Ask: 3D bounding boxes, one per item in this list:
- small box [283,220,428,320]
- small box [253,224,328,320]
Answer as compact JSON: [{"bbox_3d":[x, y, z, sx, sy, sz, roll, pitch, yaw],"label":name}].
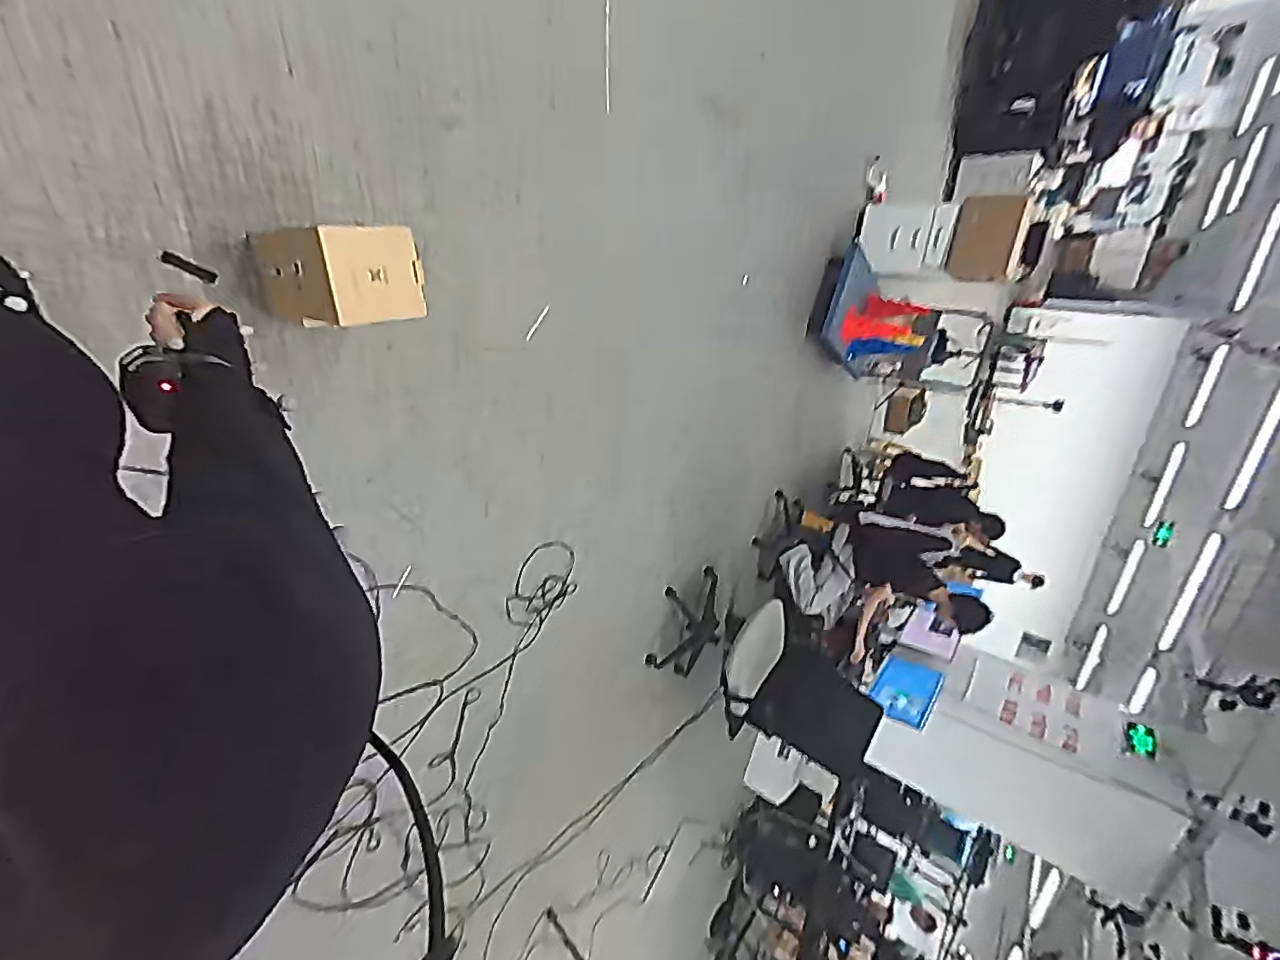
[{"bbox_3d":[-0.543,-0.408,1.041,0.179,0.176,0.168,-28,125,-44],"label":"small box"},{"bbox_3d":[-0.674,-0.439,1.136,0.168,0.176,0.179,-28,126,-44],"label":"small box"}]
